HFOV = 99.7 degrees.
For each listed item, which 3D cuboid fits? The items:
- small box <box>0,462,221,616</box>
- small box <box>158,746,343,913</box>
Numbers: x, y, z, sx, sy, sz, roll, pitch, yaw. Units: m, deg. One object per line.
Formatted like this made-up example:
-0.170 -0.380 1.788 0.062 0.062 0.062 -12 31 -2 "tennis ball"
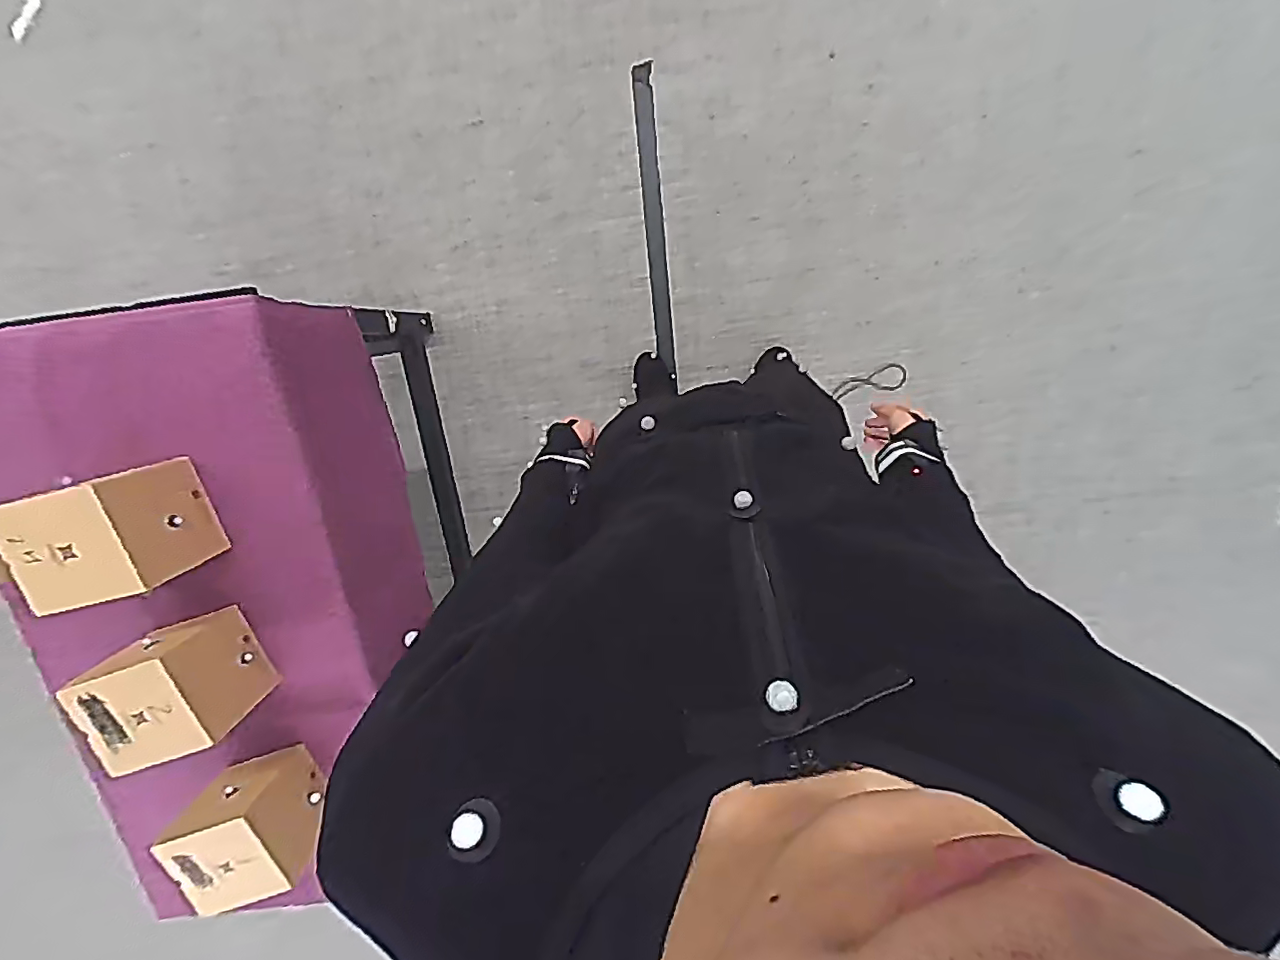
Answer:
-0.796 0.081 0.829 0.179 0.176 0.168 -13 105 4 "small box"
-0.689 0.623 0.980 0.179 0.176 0.168 -20 105 5 "small box"
